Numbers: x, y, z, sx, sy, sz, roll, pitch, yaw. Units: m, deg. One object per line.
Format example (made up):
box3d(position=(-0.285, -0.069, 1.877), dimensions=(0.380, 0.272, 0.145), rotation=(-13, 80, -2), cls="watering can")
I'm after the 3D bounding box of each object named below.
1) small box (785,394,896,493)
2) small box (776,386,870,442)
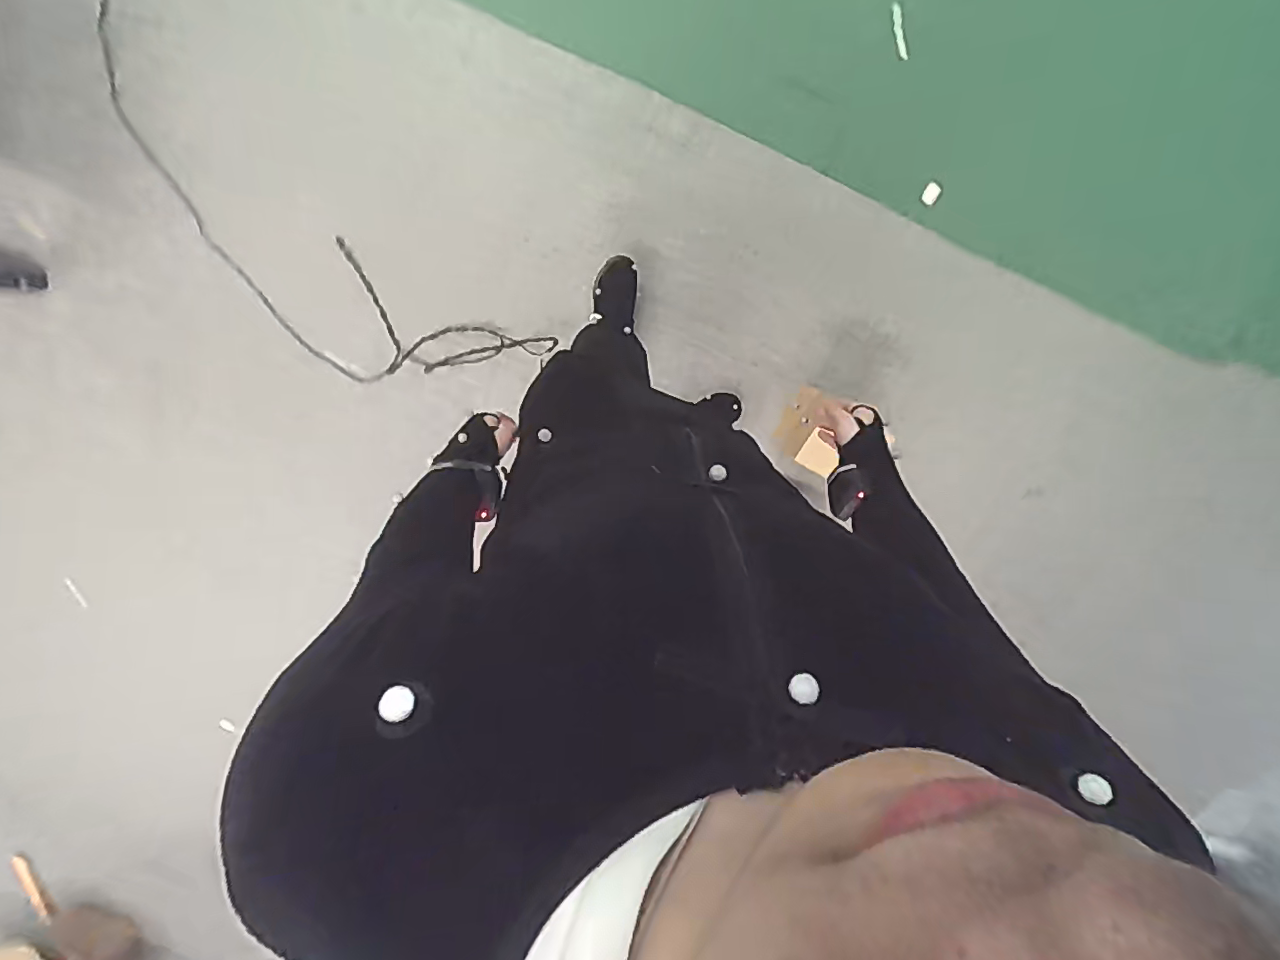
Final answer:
box3d(position=(0.481, -0.099, 1.330), dimensions=(0.179, 0.176, 0.168), rotation=(30, 107, -5), cls="small box")
box3d(position=(0.496, -0.147, 1.488), dimensions=(0.179, 0.176, 0.168), rotation=(29, 106, -4), cls="small box")
